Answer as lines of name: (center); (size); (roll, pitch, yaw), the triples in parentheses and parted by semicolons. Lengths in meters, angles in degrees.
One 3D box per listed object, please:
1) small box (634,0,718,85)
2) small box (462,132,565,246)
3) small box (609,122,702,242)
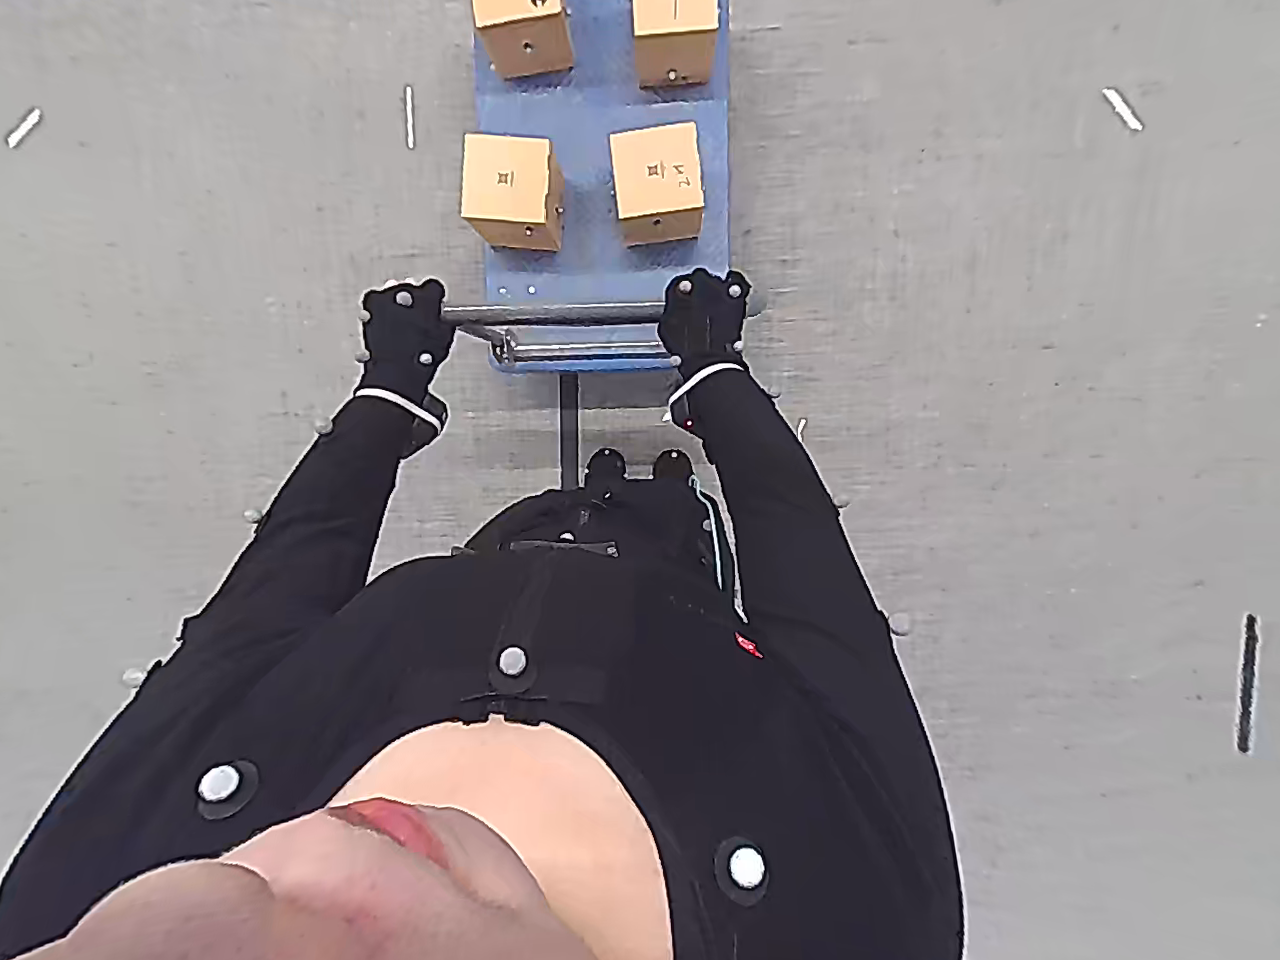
small box: (0.071, -0.971, 1.128); (0.168, 0.176, 0.179); (-2, 97, 3)
small box: (-0.269, -0.623, 1.177); (0.179, 0.176, 0.168); (5, 95, 0)
small box: (0.037, -0.629, 1.162); (0.179, 0.176, 0.168); (-6, 95, 3)
